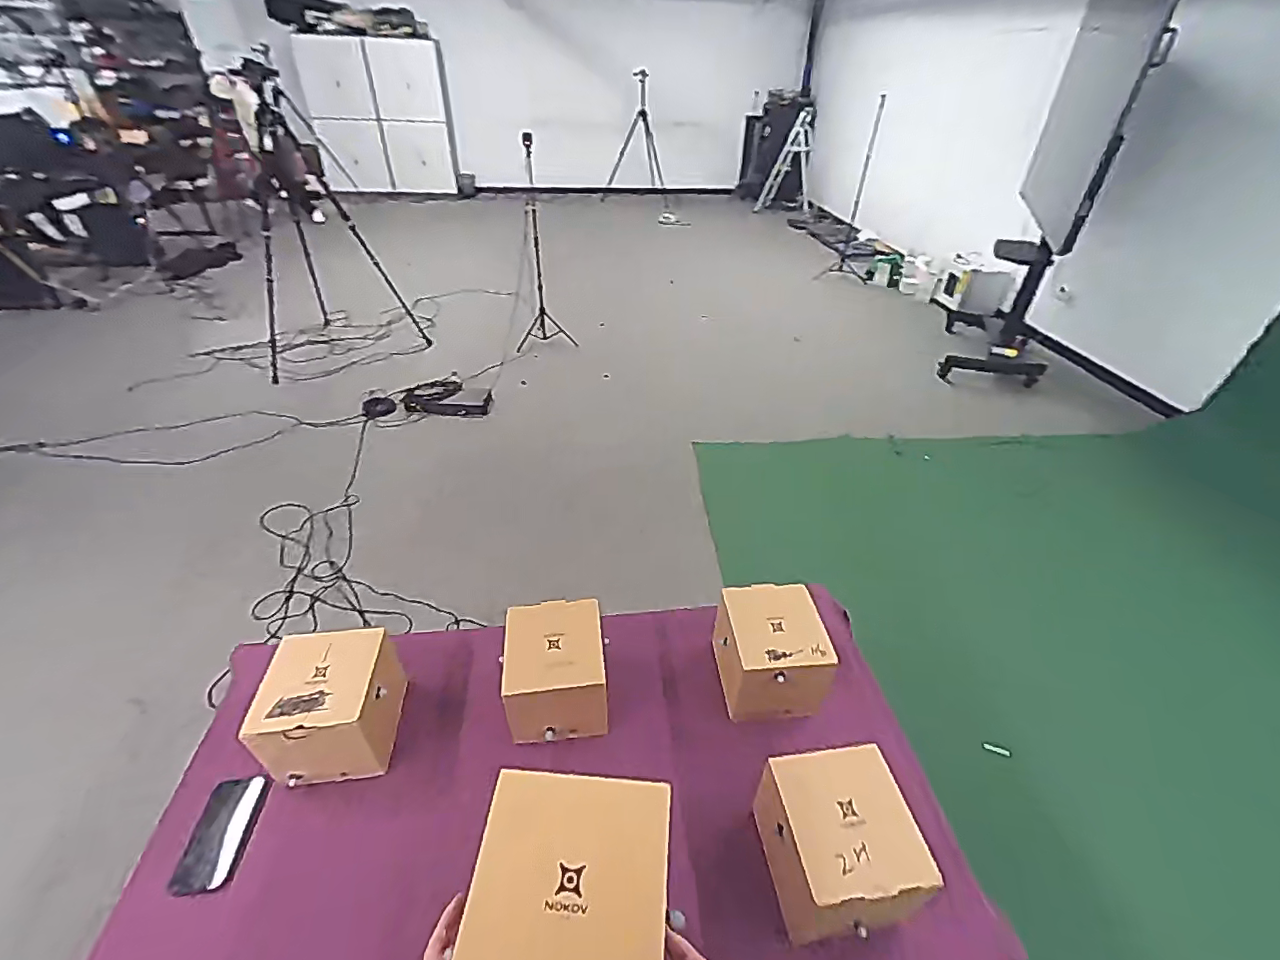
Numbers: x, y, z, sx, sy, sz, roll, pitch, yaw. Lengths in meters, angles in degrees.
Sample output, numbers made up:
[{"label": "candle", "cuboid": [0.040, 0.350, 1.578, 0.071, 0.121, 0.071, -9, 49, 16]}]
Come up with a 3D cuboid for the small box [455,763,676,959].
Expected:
[{"label": "small box", "cuboid": [-0.057, 0.394, 0.505, 0.168, 0.176, 0.179, 3, 43, 4]}]

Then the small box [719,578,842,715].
[{"label": "small box", "cuboid": [0.246, 0.306, 1.001, 0.168, 0.176, 0.179, -4, 38, -4]}]

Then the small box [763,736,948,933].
[{"label": "small box", "cuboid": [0.281, 0.492, 0.756, 0.168, 0.176, 0.179, -6, 39, -5]}]

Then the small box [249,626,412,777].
[{"label": "small box", "cuboid": [-0.498, 0.374, 0.906, 0.168, 0.176, 0.179, -4, 38, -6]}]

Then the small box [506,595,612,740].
[{"label": "small box", "cuboid": [-0.140, 0.333, 0.965, 0.168, 0.176, 0.179, -5, 39, -6]}]
